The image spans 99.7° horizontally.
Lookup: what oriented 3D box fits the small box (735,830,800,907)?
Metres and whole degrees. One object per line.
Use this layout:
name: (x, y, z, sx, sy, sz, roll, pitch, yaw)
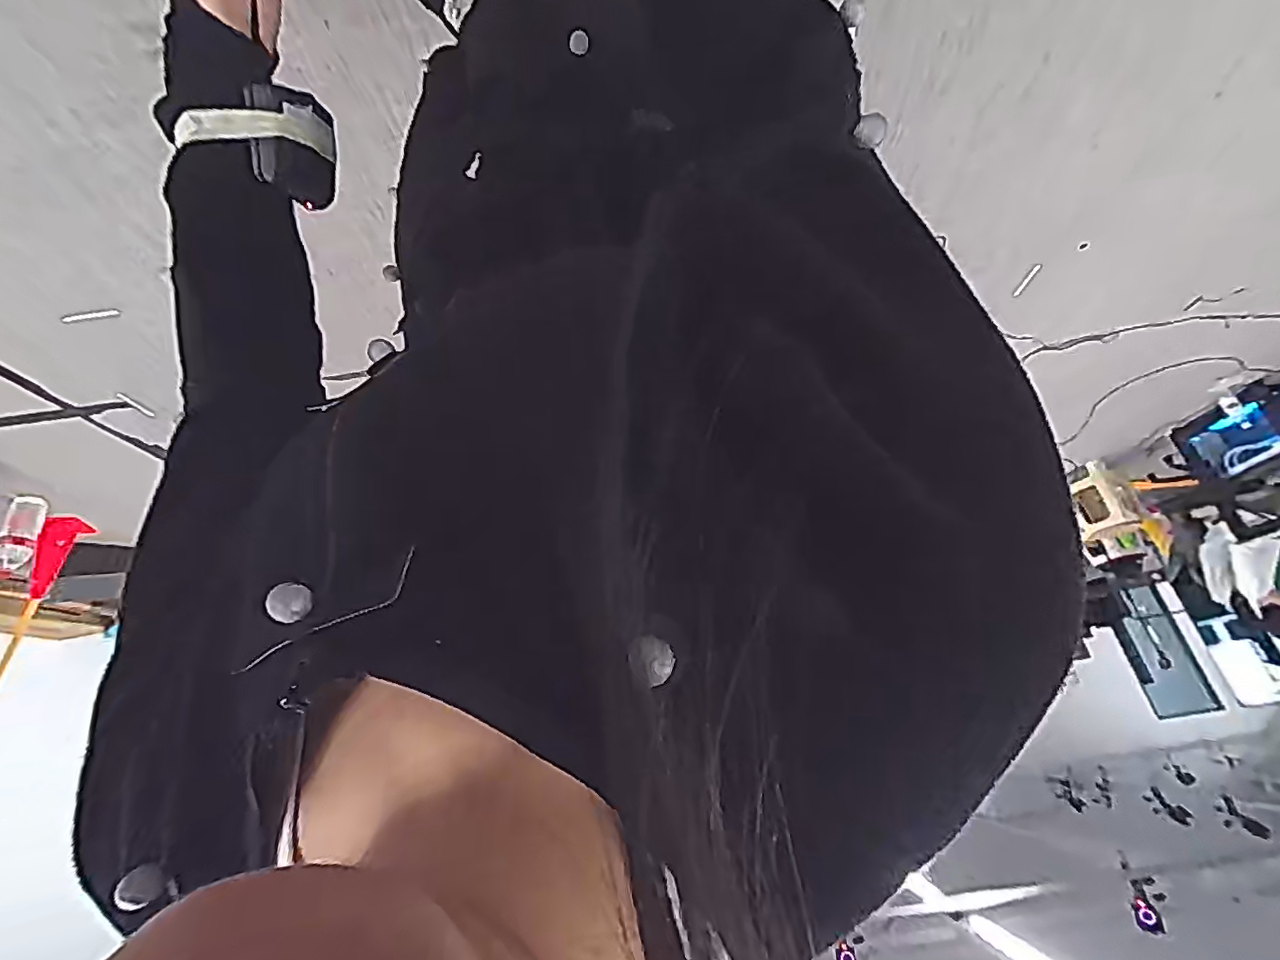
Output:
small box: (0.428, 1.319, 1.846, 0.168, 0.176, 0.179, -9, 157, 0)
